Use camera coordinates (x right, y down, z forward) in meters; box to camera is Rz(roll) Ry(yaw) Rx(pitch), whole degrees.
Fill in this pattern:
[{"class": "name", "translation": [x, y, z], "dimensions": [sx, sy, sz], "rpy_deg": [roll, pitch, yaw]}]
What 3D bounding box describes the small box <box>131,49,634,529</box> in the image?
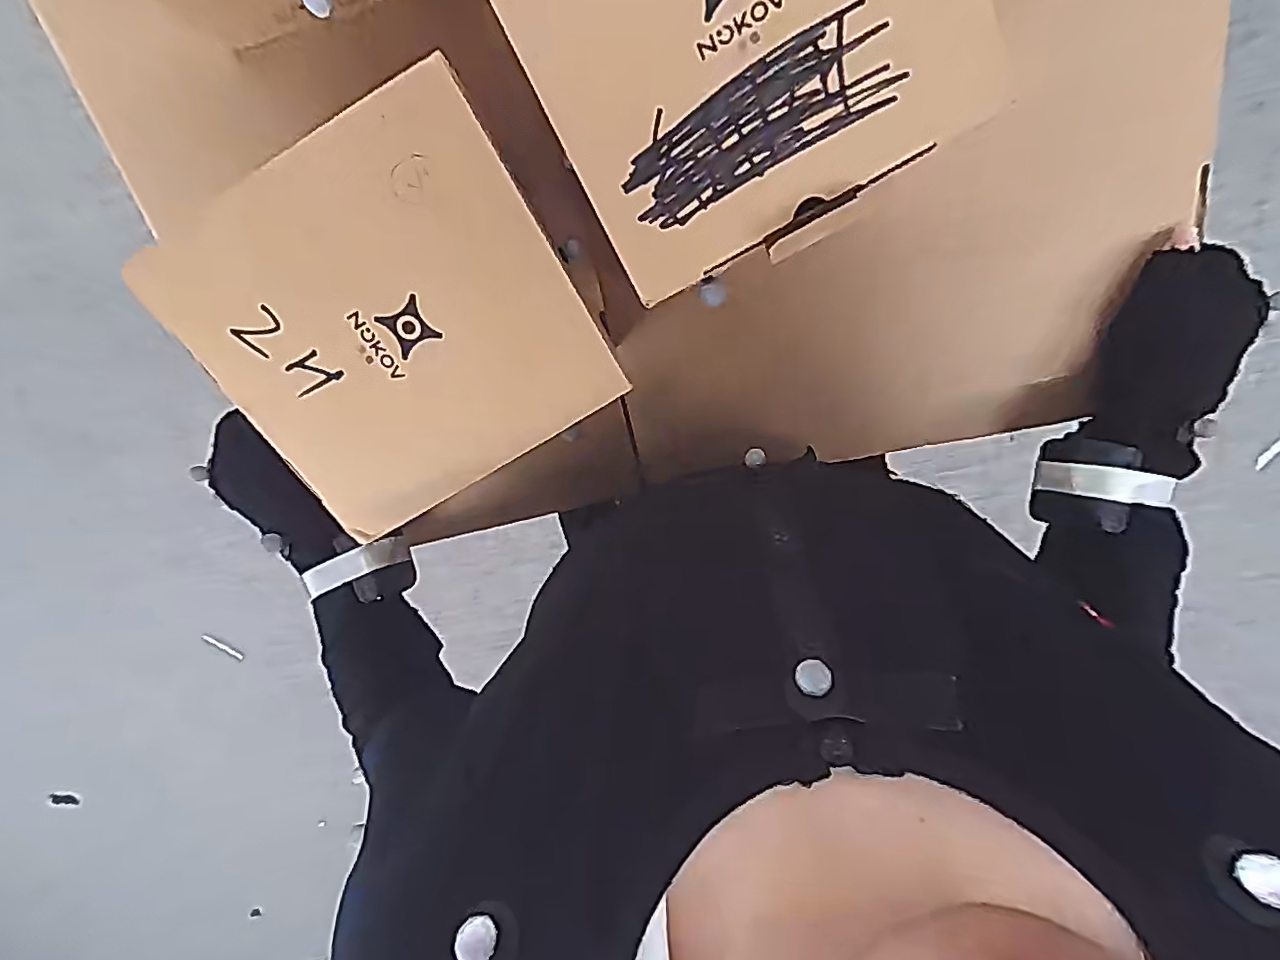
[{"class": "small box", "translation": [-0.123, -0.106, 0.335], "dimensions": [0.179, 0.176, 0.168], "rpy_deg": [-29, 111, 6]}]
